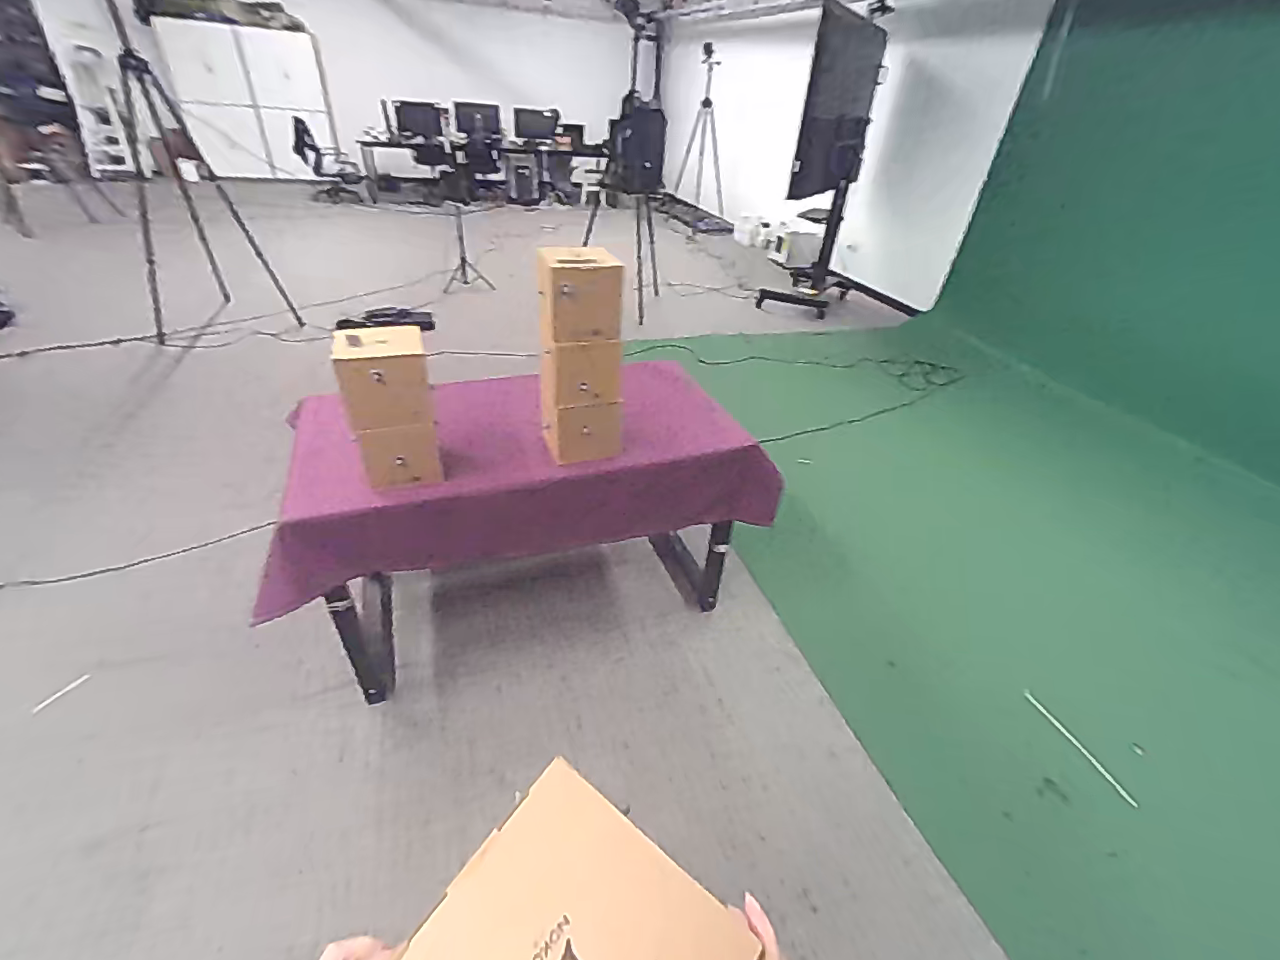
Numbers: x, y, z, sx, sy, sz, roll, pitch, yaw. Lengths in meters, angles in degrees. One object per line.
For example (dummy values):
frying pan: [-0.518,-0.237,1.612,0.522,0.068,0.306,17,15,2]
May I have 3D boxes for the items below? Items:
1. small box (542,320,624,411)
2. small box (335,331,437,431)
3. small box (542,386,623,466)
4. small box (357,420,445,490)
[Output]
small box: [-0.148,-0.290,1.359,0.168,0.176,0.179,-9,38,-19]
small box: [-0.563,-0.222,1.212,0.179,0.176,0.168,-9,38,-20]
small box: [-0.153,-0.154,1.449,0.179,0.176,0.168,-11,38,-20]
small box: [-0.573,-0.088,1.308,0.168,0.176,0.179,-9,37,-20]
